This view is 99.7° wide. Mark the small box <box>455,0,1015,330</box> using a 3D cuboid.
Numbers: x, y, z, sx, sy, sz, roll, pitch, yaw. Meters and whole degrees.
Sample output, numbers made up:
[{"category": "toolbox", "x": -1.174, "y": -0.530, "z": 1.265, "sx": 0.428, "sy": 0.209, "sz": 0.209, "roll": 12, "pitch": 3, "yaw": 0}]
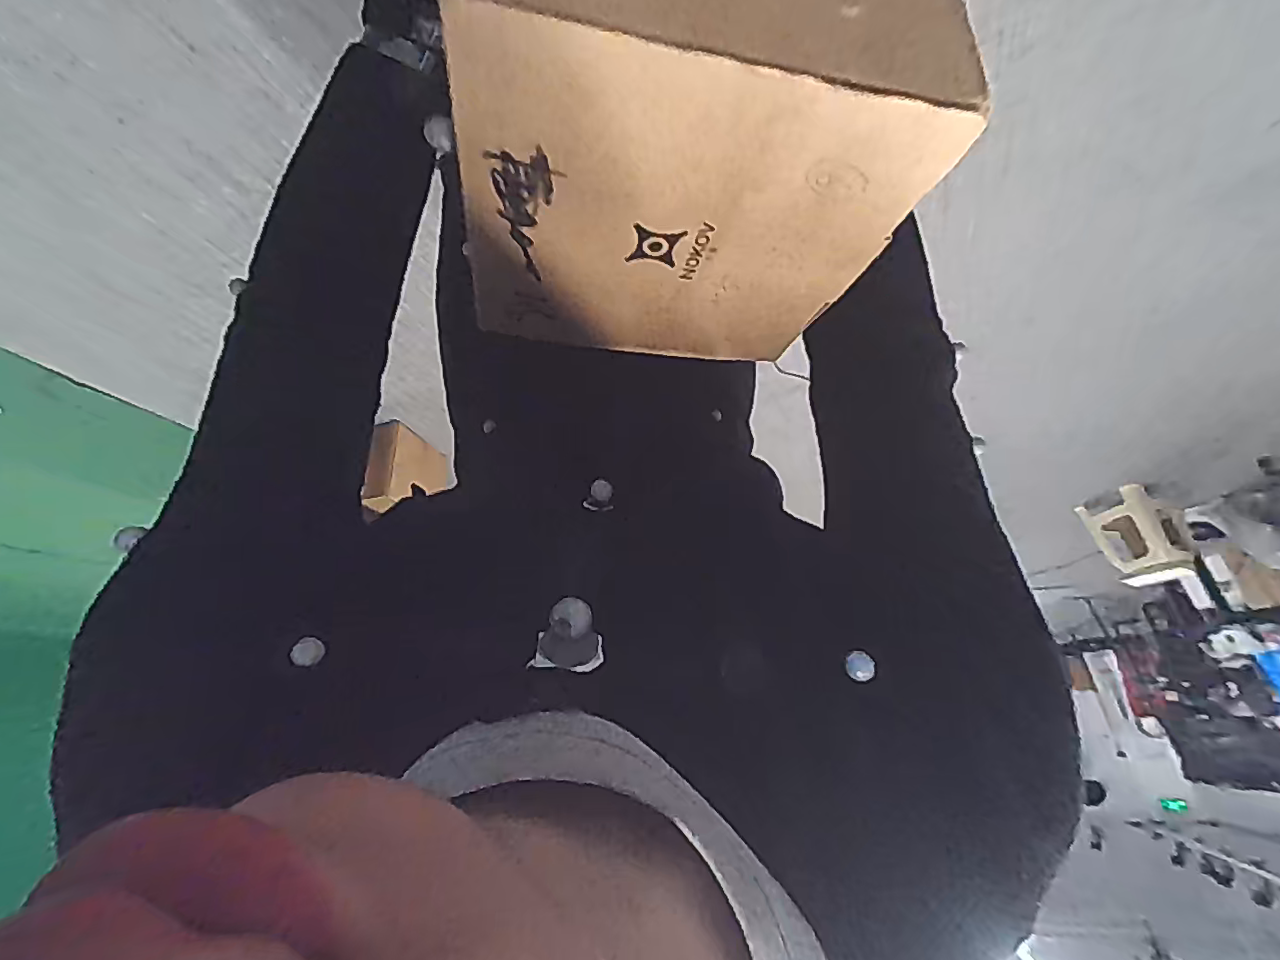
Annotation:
[{"category": "small box", "x": 0.017, "y": -0.191, "z": 0.248, "sx": 0.179, "sy": 0.176, "sz": 0.168, "roll": 2, "pitch": 163, "yaw": -11}]
